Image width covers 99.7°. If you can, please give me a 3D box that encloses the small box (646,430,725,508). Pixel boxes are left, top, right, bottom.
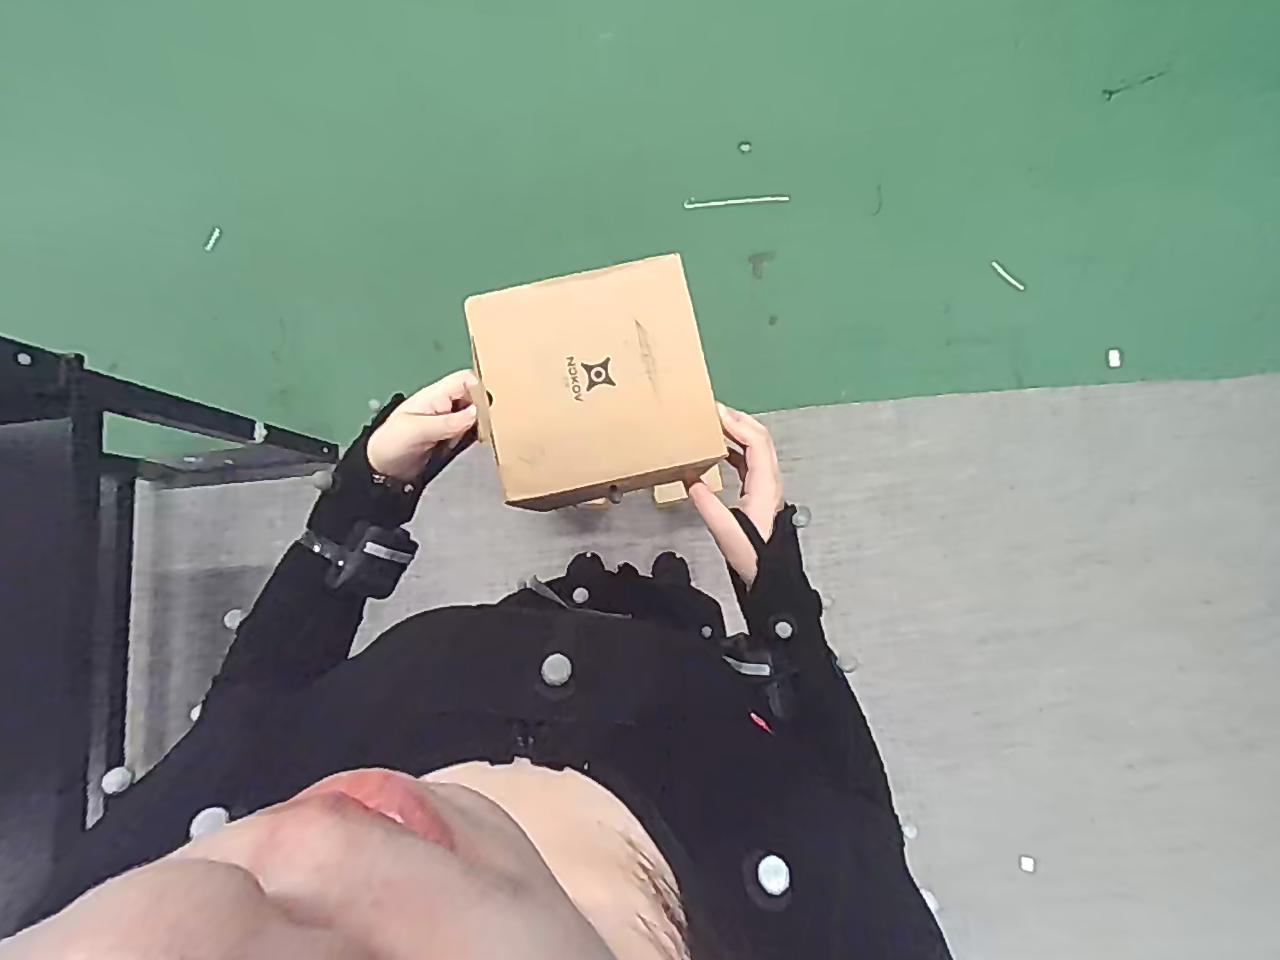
[{"bbox_3d":[0.118,-0.023,1.443,0.179,0.176,0.168,-12,84,0],"label":"small box"}]
